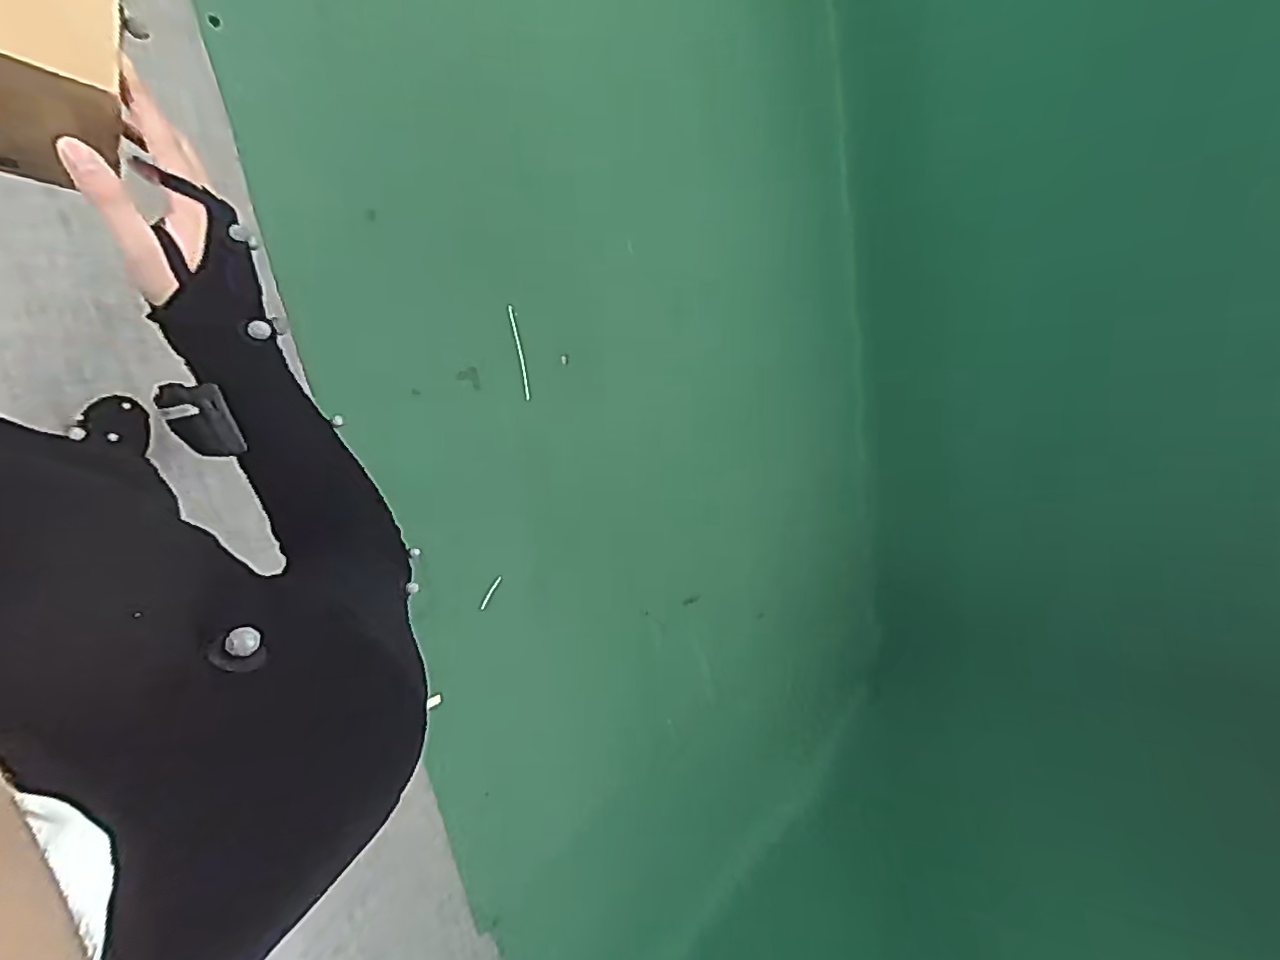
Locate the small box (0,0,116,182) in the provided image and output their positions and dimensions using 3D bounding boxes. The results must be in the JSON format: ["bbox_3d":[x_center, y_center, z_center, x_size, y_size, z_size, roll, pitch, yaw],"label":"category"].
[{"bbox_3d":[-0.441,-0.325,0.335,0.168,0.176,0.179,0,87,-45],"label":"small box"}]
